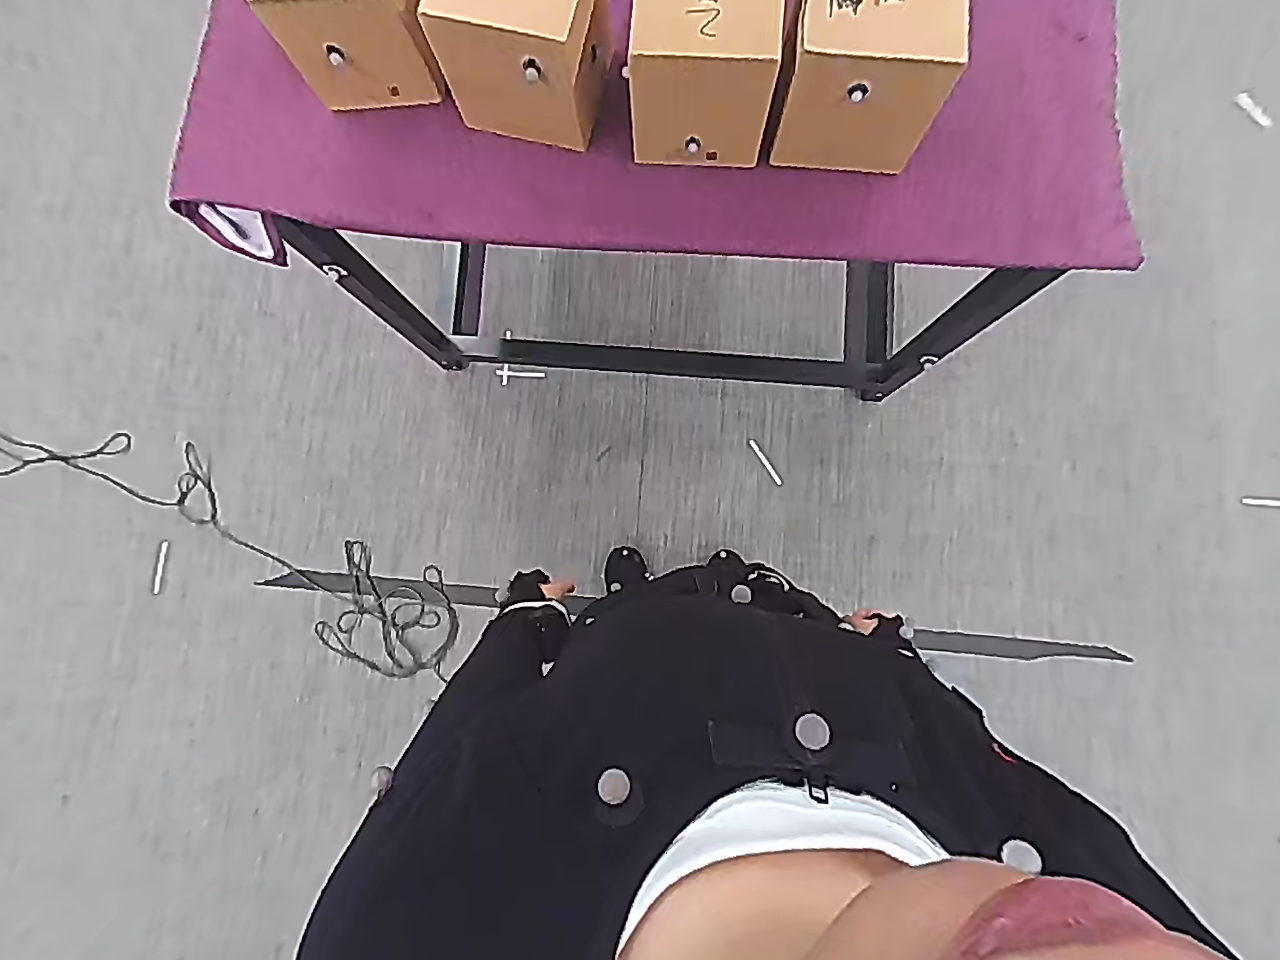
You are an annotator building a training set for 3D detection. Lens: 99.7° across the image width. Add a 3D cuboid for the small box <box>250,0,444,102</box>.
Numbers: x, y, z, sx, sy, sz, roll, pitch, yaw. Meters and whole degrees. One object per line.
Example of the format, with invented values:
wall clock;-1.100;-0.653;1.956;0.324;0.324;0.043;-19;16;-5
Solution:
small box;-0.365;-0.625;0.697;0.168;0.176;0.179;-4;83;2
